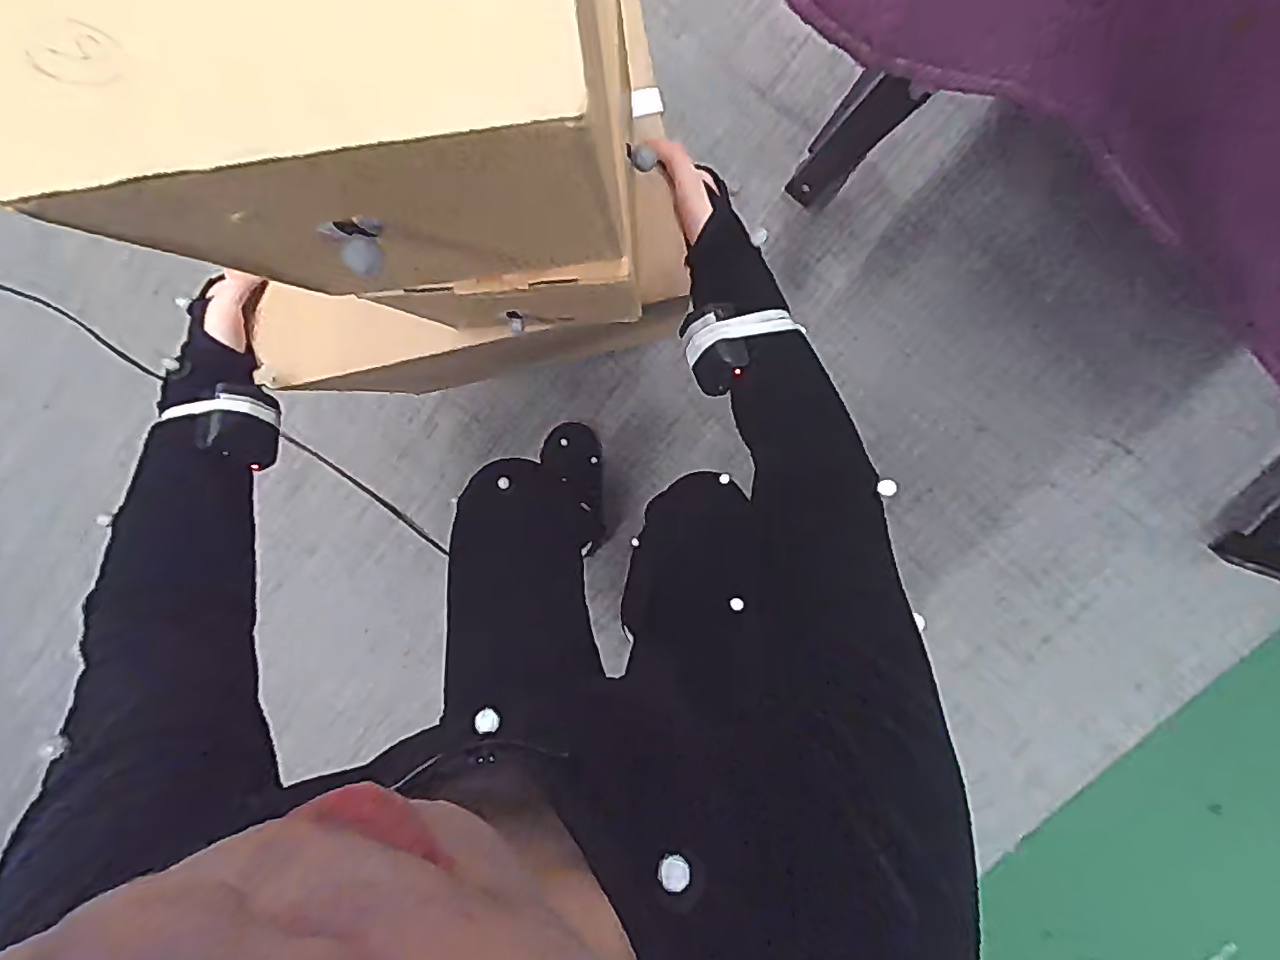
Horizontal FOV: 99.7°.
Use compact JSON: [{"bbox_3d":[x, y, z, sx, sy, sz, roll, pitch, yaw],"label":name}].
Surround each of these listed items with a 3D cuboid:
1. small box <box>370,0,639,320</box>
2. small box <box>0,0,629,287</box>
[{"bbox_3d":[-0.086,-0.216,0.386,0.168,0.176,0.179,-2,102,2],"label":"small box"},{"bbox_3d":[-0.104,-0.185,0.225,0.179,0.176,0.168,-6,102,4],"label":"small box"}]
